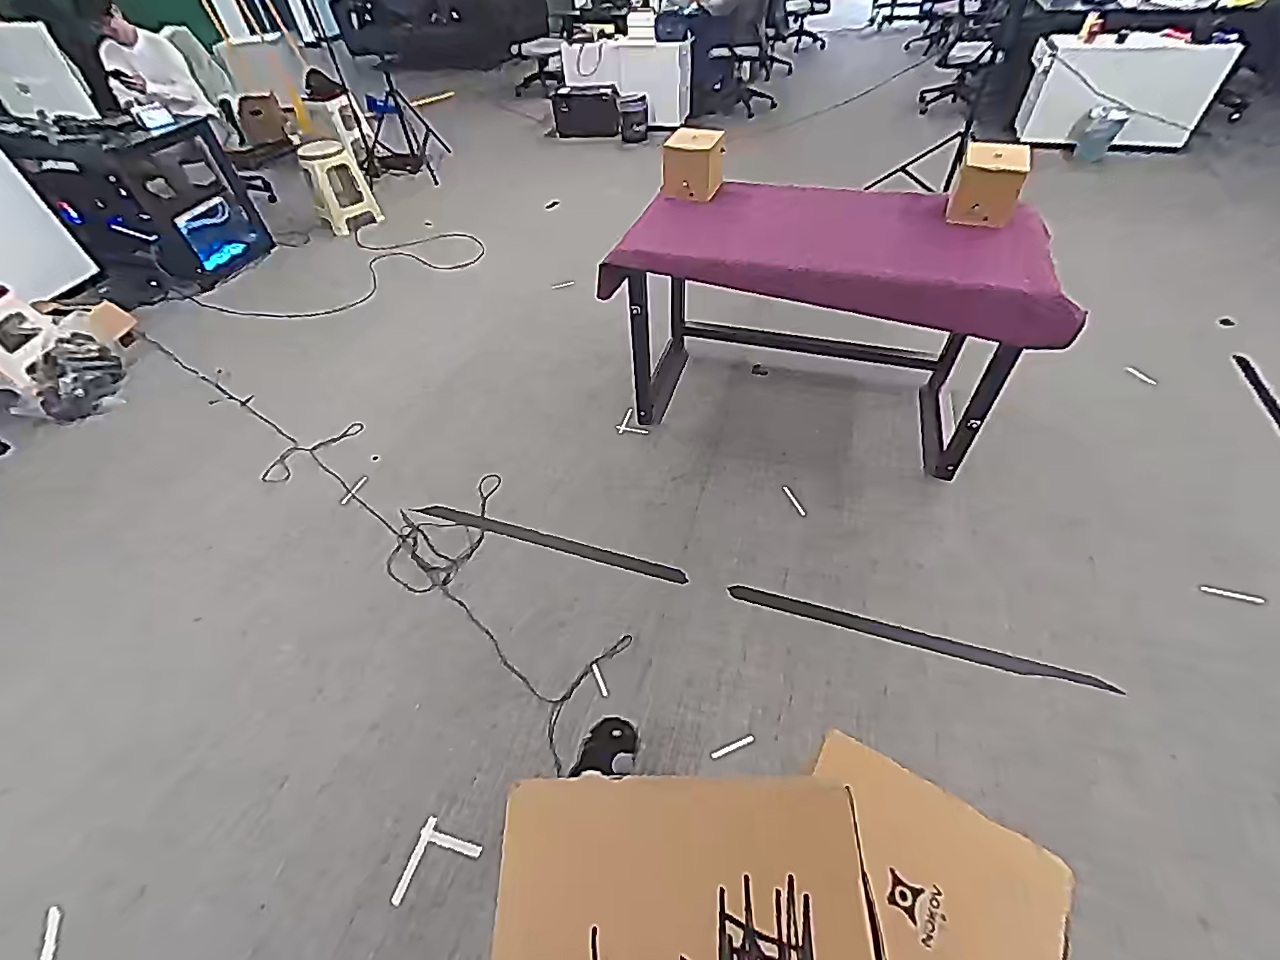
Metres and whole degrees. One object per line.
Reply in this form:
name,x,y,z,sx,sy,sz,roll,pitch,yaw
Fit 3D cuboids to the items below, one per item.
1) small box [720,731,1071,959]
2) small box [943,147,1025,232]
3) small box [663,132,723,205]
small box,0.183,0.340,0.422,0.179,0.176,0.168,27,51,20
small box,1.048,-0.889,1.655,0.168,0.176,0.179,16,55,17
small box,0.183,-1.086,1.886,0.168,0.176,0.179,15,53,17
